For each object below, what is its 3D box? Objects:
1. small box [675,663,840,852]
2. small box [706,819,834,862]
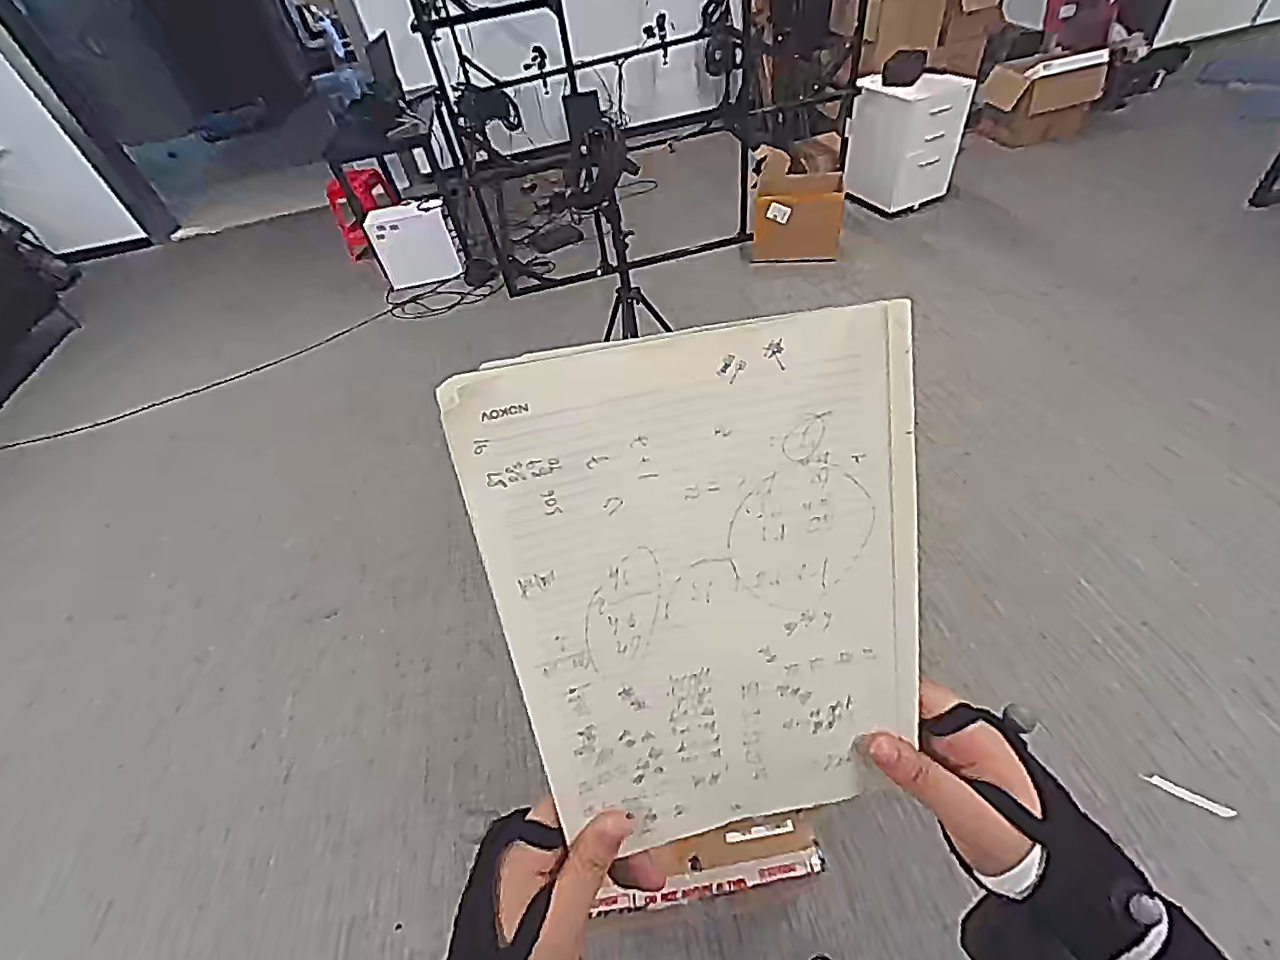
[{"bbox_3d":[0.137,0.364,0.709,0.168,0.176,0.179,-8,49,0],"label":"small box"},{"bbox_3d":[0.171,0.468,0.834,0.179,0.176,0.168,-11,48,-2],"label":"small box"}]
